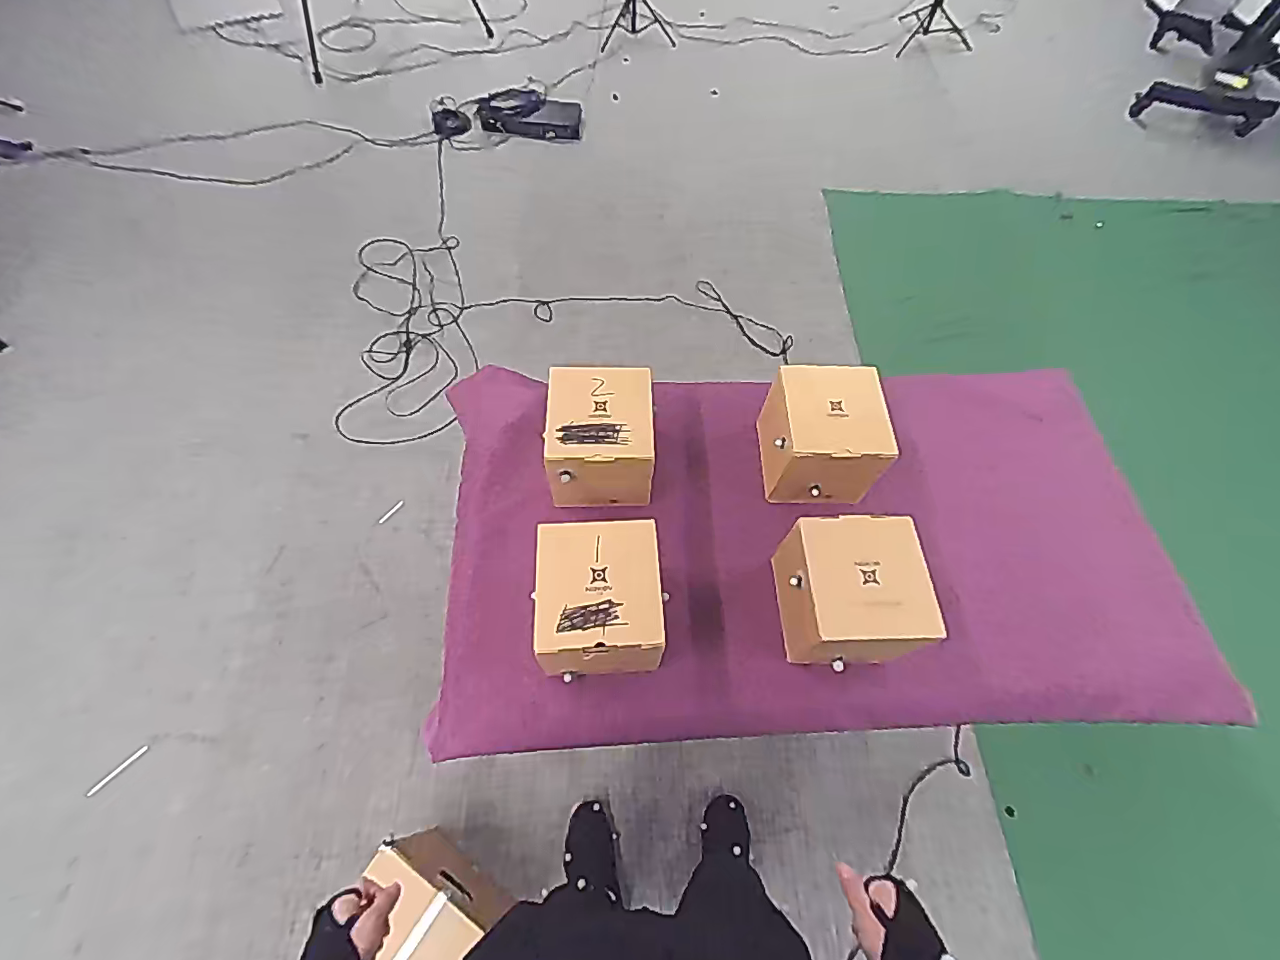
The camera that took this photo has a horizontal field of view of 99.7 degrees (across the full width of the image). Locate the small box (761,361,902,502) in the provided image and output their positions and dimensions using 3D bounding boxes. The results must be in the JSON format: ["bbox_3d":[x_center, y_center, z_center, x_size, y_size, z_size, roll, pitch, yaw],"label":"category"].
[{"bbox_3d":[0.310,-0.078,0.918,0.168,0.176,0.179,1,63,-2],"label":"small box"}]

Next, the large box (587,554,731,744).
[{"bbox_3d":[0.032,0.437,1.382,0.320,0.320,0.408,-1,61,-3],"label":"large box"}]

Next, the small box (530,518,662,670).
[{"bbox_3d":[-0.058,0.168,0.770,0.168,0.176,0.179,-2,60,-3],"label":"small box"}]

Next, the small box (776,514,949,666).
[{"bbox_3d":[0.305,0.164,0.787,0.168,0.176,0.179,0,61,-1],"label":"small box"}]
